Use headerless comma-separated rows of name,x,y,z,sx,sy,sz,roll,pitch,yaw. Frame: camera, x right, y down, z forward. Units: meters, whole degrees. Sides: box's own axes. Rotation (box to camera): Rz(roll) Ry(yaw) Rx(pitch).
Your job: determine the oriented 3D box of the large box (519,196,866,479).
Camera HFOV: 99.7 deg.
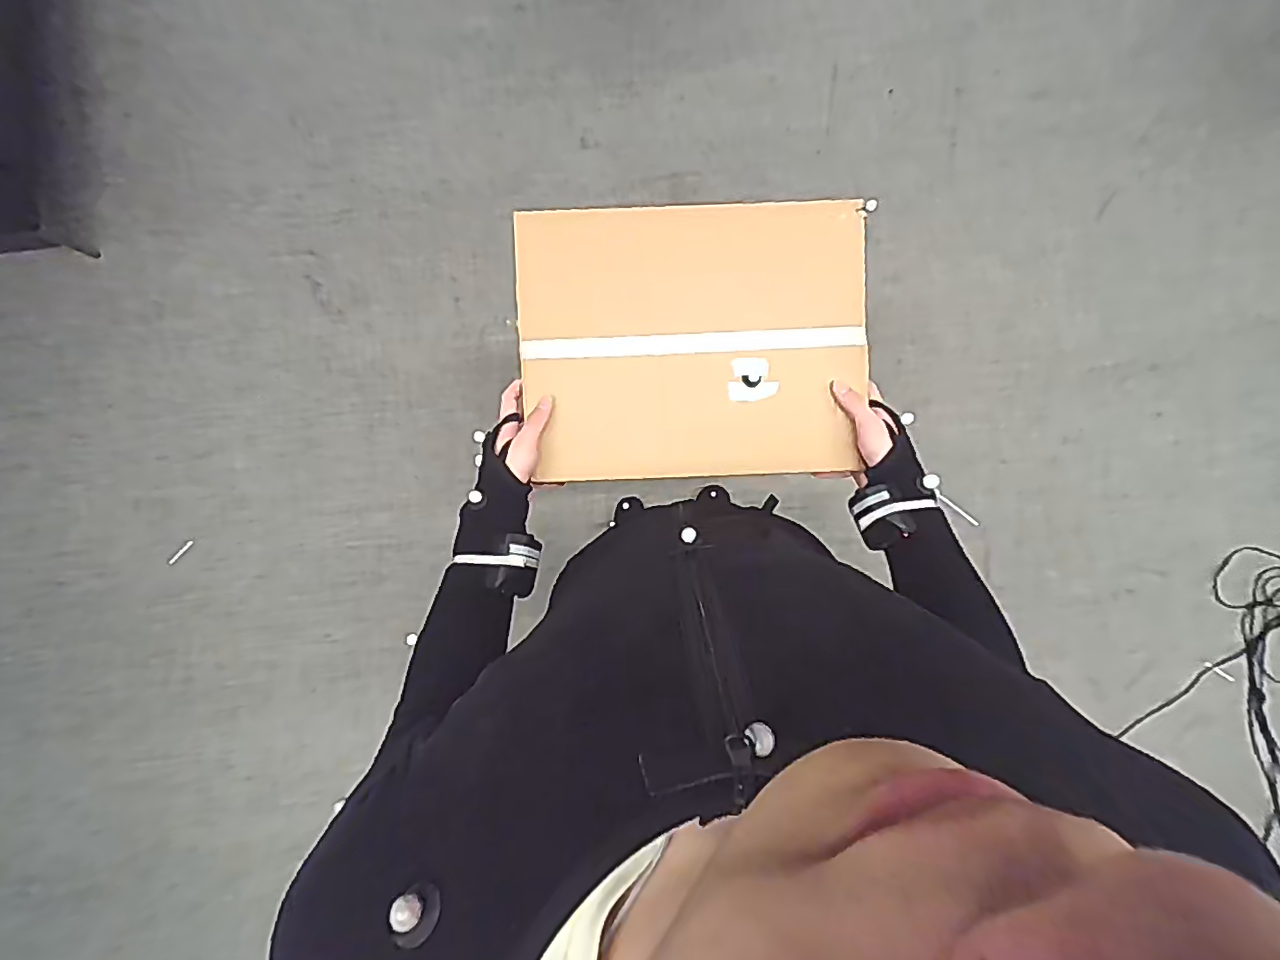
large box,0.062,-0.176,0.786,0.408,0.320,0.320,-3,95,-1
